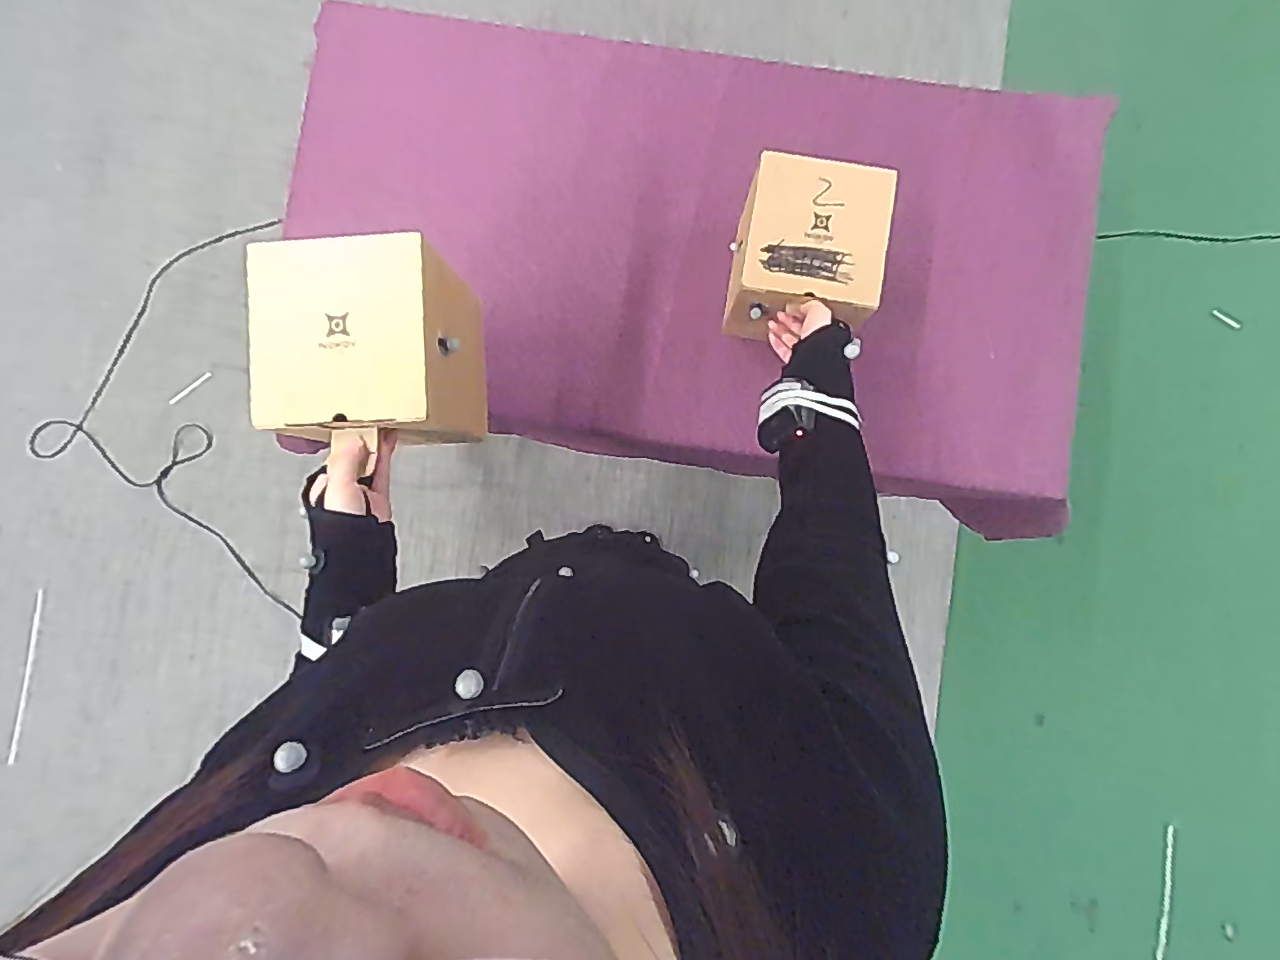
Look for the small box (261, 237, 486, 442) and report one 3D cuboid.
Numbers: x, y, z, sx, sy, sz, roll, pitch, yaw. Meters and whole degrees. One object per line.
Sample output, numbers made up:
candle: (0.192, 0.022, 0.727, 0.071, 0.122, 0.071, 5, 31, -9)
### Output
small box: (-0.274, -0.139, 0.591, 0.168, 0.176, 0.179, -3, 88, 2)
